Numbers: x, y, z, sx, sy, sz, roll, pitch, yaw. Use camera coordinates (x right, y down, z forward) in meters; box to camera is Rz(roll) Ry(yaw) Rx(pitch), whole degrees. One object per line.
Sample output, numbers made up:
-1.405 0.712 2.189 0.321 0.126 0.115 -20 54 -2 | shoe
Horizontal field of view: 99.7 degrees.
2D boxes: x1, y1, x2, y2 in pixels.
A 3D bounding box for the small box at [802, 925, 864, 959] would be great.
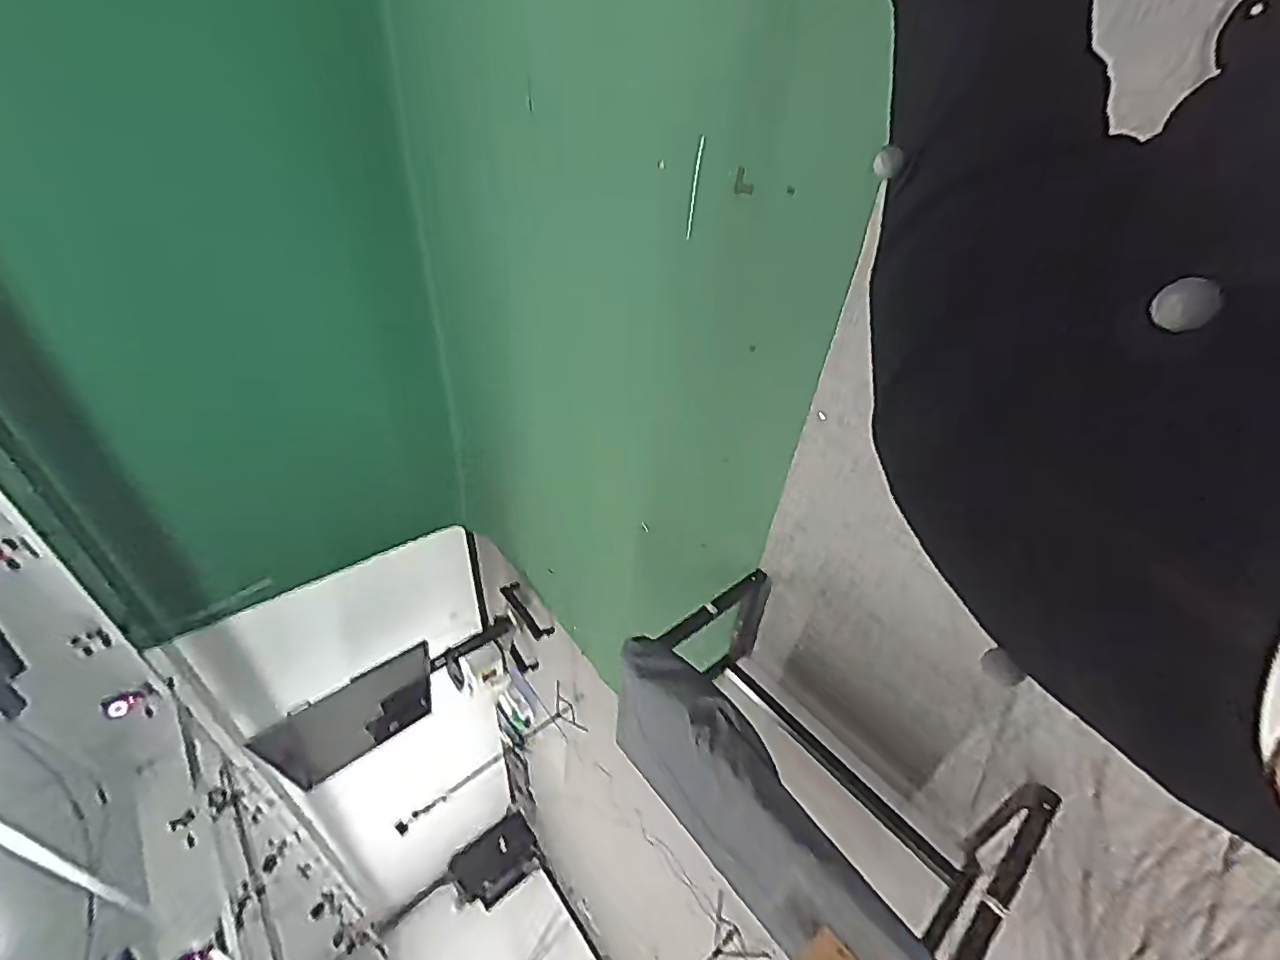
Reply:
0.510 1.338 1.430 0.168 0.176 0.179 37 137 37 | small box
